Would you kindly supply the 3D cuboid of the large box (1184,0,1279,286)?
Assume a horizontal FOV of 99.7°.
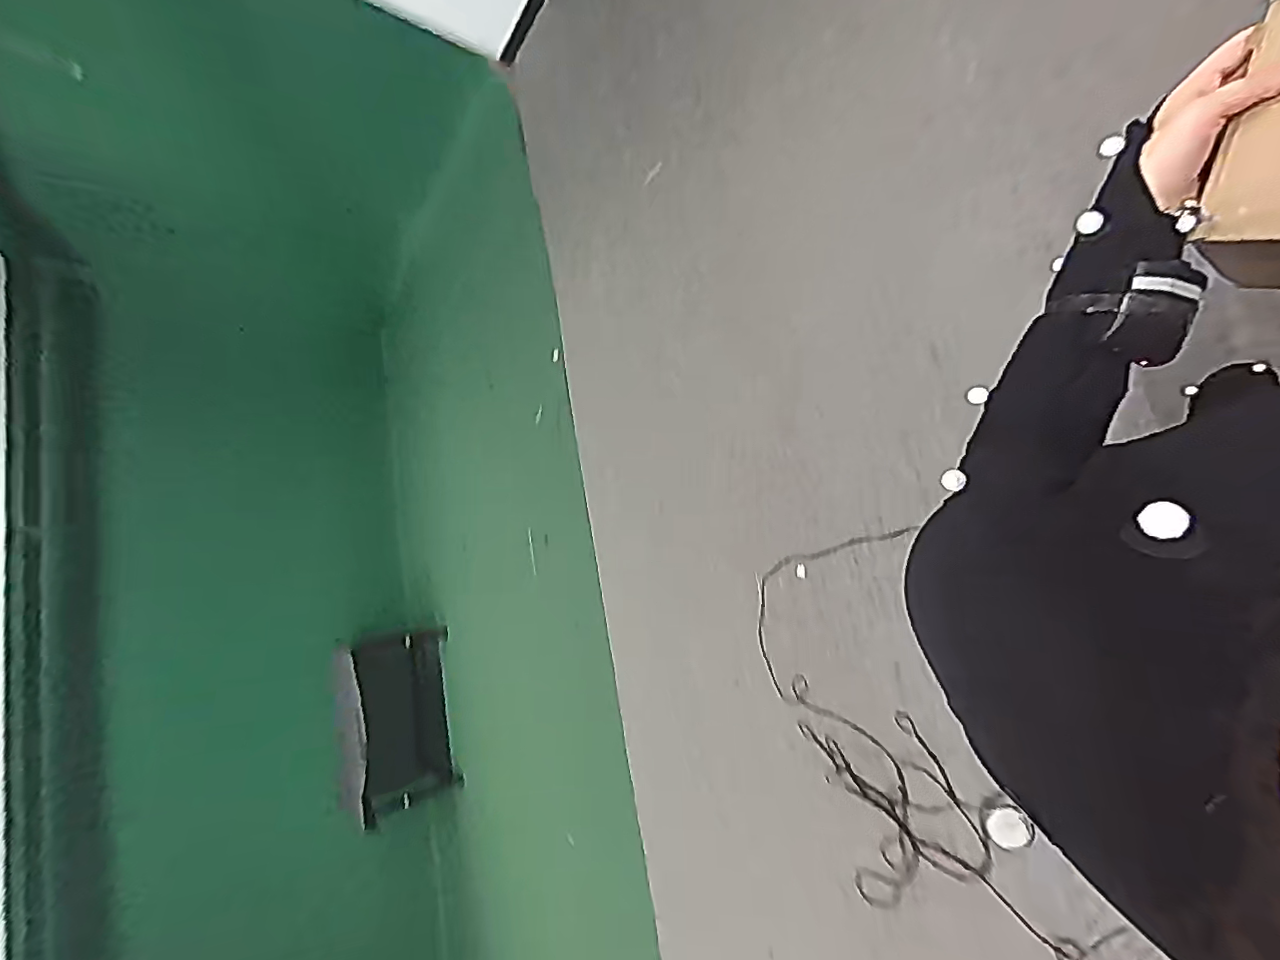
[{"bbox_3d":[0.663,-0.289,0.310,0.408,0.320,0.320,23,114,50],"label":"large box"}]
